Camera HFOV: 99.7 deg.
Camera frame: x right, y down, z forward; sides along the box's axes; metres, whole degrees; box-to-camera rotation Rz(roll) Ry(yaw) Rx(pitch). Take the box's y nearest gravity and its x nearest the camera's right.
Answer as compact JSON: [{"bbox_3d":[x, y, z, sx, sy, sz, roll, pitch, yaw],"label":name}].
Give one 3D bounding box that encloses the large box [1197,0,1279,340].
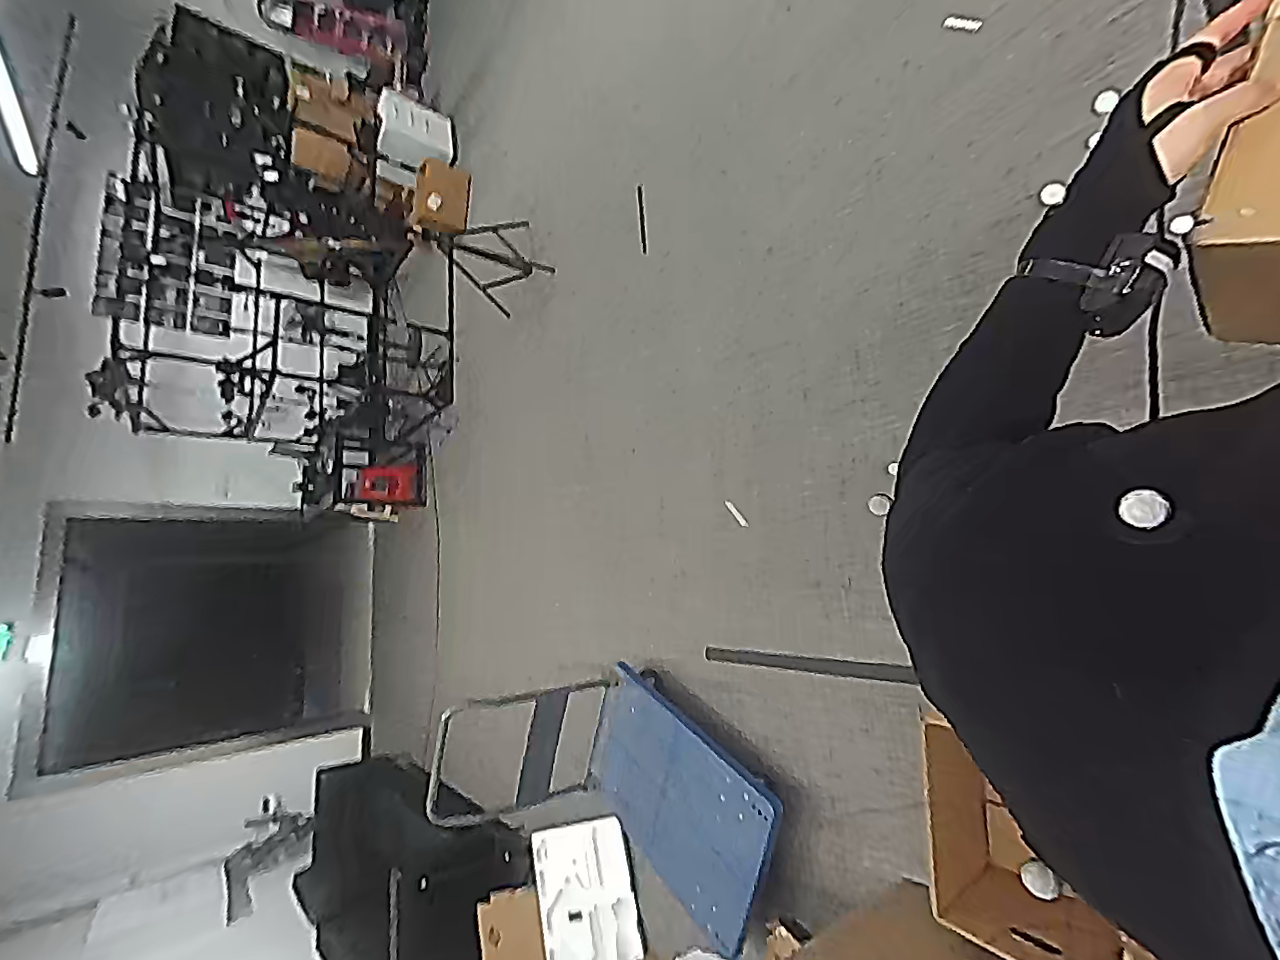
[{"bbox_3d":[0.670,-0.262,0.318,0.408,0.320,0.320,21,101,49],"label":"large box"}]
